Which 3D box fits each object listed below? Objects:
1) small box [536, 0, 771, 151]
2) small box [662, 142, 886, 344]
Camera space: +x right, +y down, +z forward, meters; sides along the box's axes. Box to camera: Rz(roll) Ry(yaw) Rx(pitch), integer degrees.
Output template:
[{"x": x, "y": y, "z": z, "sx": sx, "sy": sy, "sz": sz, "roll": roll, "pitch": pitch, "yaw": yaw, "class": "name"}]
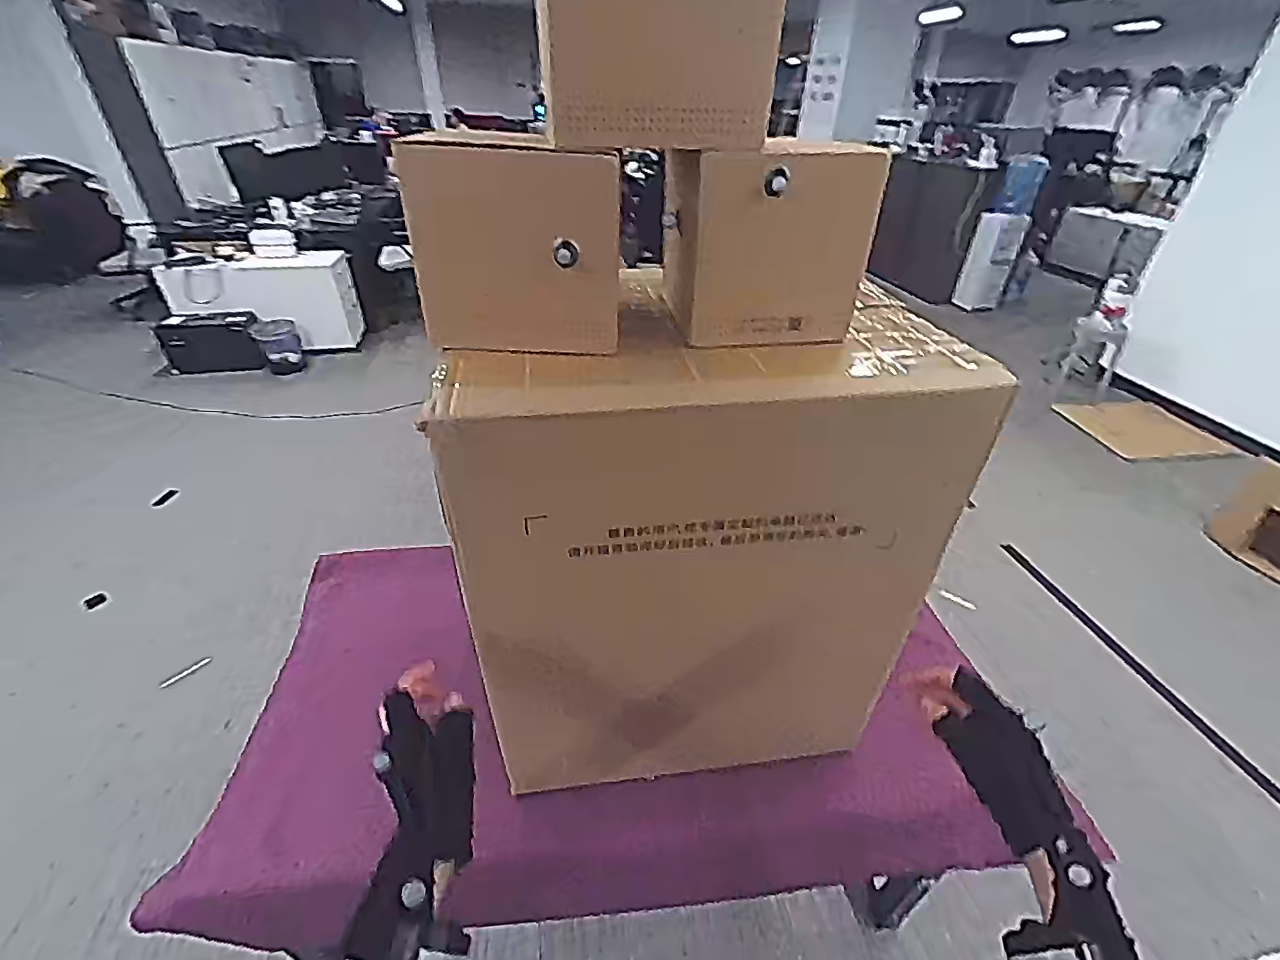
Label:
[{"x": 0.003, "y": -0.378, "z": 0.454, "sx": 0.179, "sy": 0.176, "sz": 0.168, "roll": -4, "pitch": 36, "yaw": -10, "class": "small box"}, {"x": 0.117, "y": -0.250, "z": 0.562, "sx": 0.168, "sy": 0.176, "sz": 0.179, "roll": -5, "pitch": 35, "yaw": -6, "class": "small box"}]
